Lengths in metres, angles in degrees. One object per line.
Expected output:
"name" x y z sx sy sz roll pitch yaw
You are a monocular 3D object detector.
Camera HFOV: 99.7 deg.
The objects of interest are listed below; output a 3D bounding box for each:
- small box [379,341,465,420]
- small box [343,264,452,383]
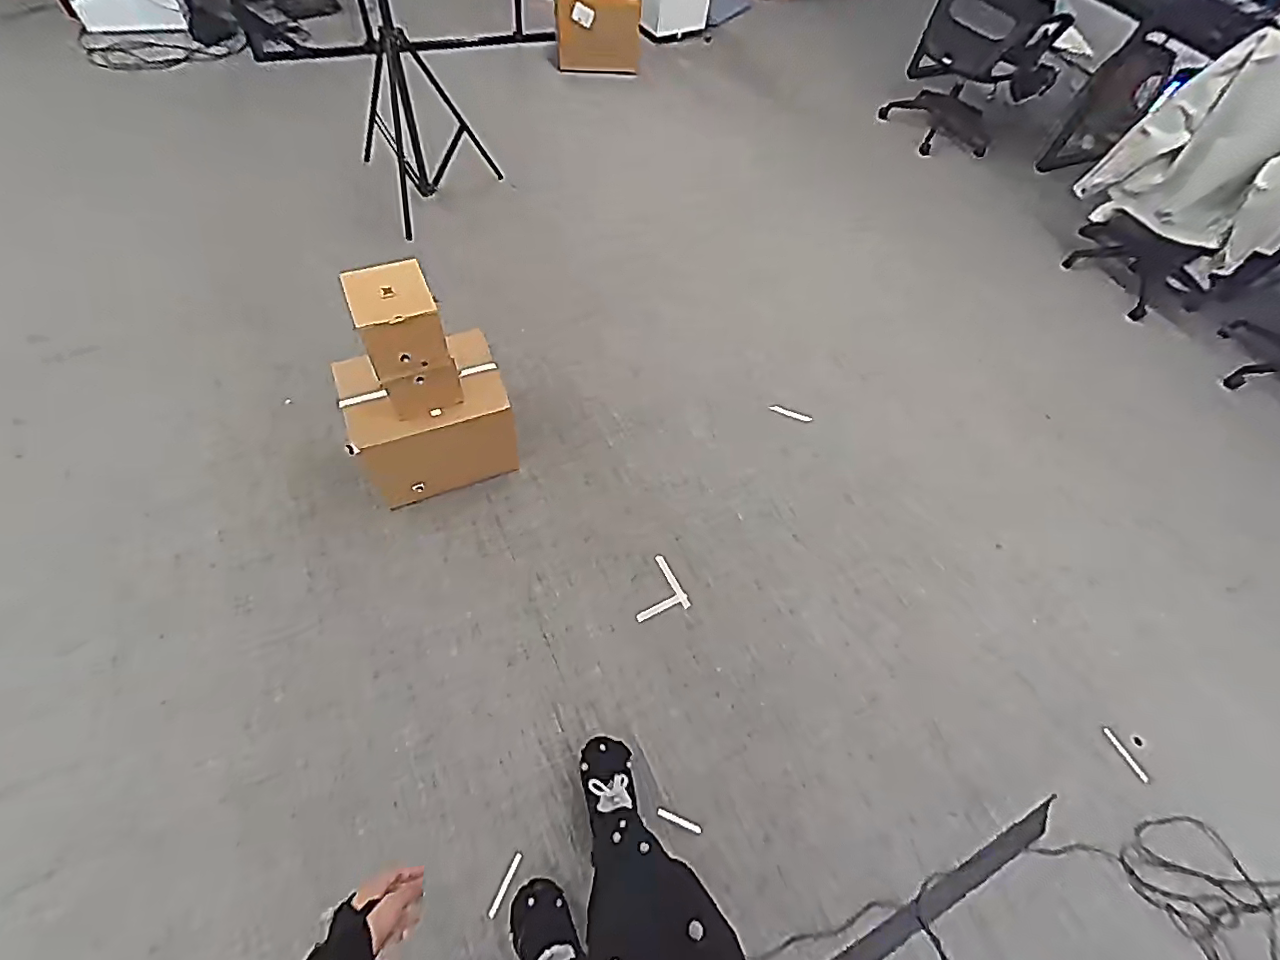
"small box" -0.562 -0.277 1.369 0.179 0.176 0.168 -21 65 -20
"small box" -0.543 -0.352 1.226 0.168 0.176 0.179 -21 65 -18
